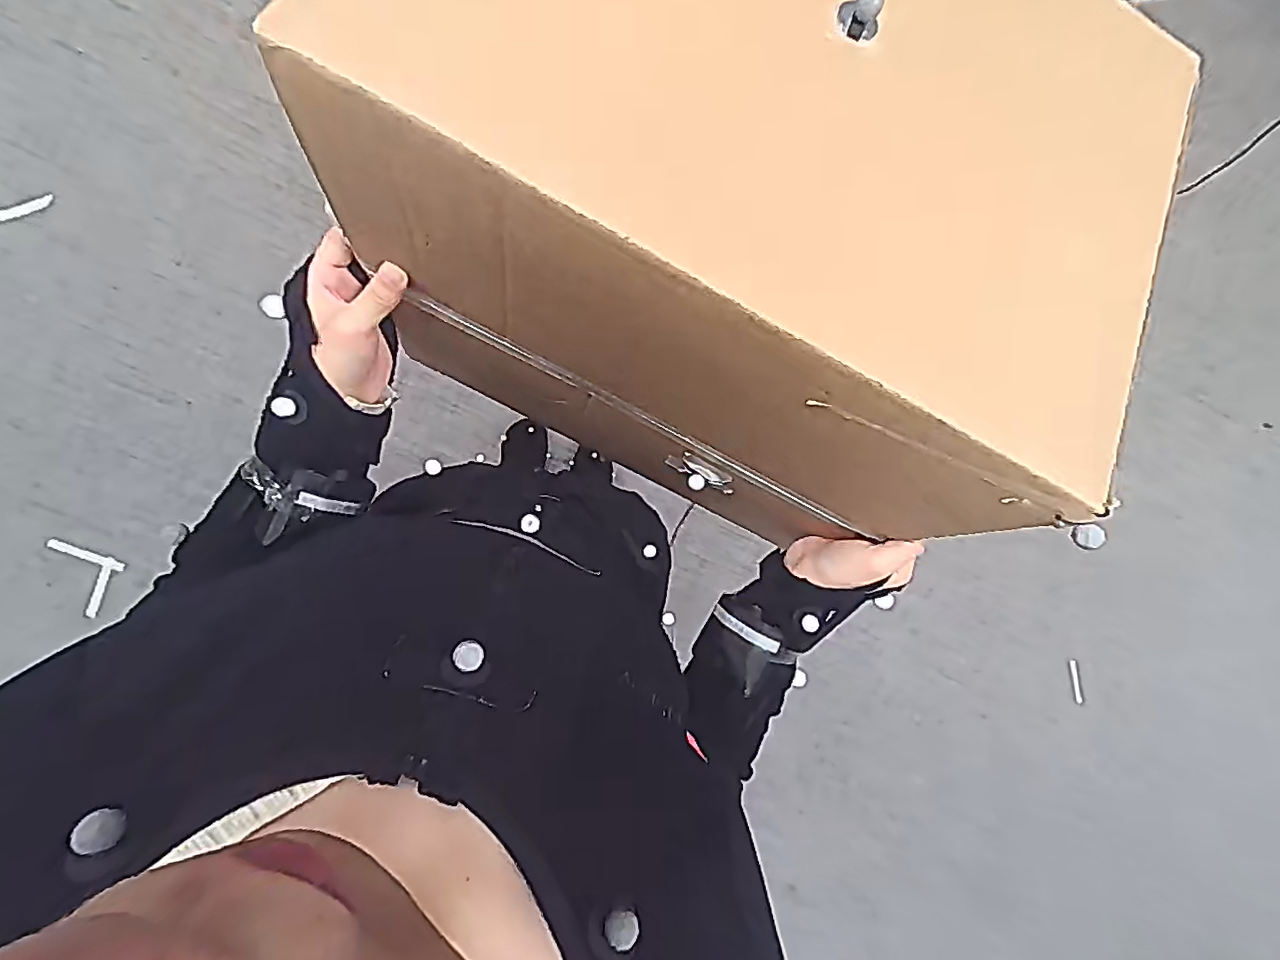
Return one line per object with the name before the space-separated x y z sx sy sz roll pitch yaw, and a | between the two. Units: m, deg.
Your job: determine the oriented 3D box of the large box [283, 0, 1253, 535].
large box | 0.078 -0.193 0.383 0.408 0.320 0.320 26 77 -7
